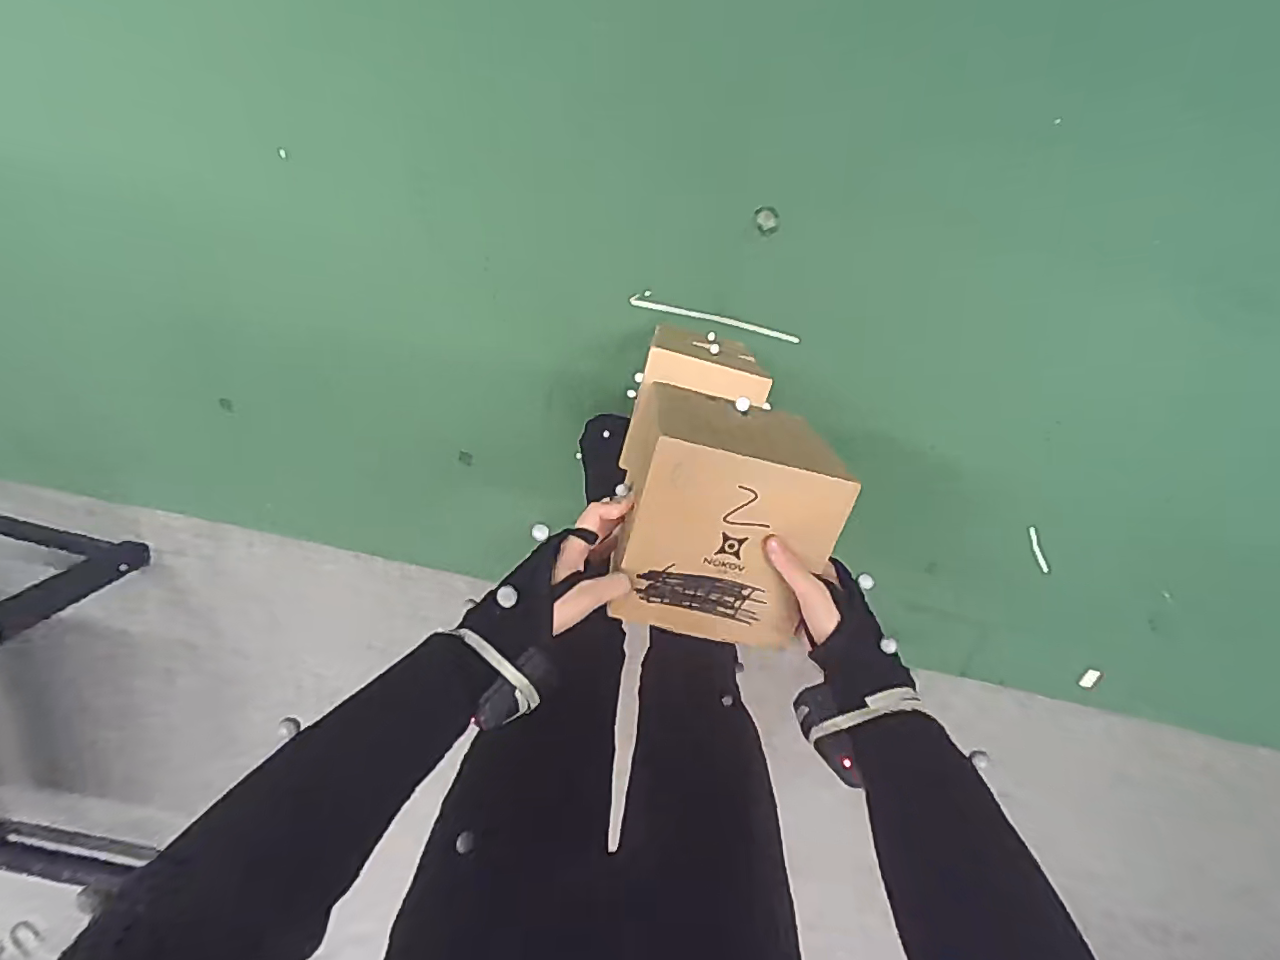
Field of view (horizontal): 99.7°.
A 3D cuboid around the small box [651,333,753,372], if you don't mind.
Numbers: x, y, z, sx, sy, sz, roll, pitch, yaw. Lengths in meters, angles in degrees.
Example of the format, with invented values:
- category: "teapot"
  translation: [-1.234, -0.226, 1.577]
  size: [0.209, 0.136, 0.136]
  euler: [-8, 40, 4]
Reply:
- category: "small box"
  translation: [0.088, -0.150, 0.958]
  size: [0.168, 0.176, 0.179]
  euler: [14, 110, -1]

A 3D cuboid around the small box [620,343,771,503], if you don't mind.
- category: "small box"
  translation: [0.075, -0.094, 0.802]
  size: [0.168, 0.176, 0.179]
  euler: [16, 110, -2]
